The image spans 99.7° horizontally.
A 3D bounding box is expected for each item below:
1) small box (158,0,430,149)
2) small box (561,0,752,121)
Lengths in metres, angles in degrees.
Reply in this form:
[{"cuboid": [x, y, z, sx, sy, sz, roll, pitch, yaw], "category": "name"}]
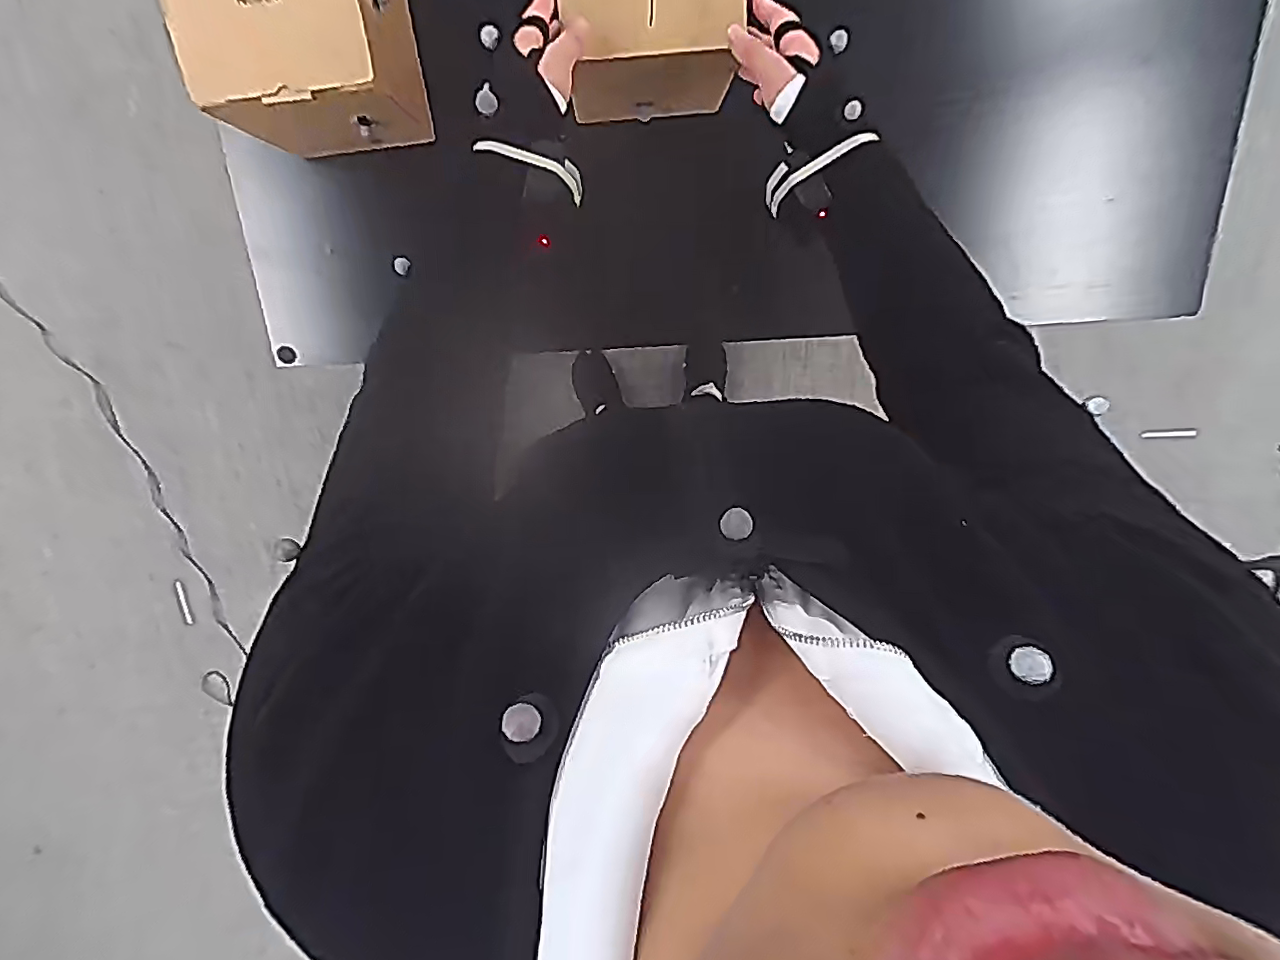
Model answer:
[{"cuboid": [-0.323, -0.441, 0.522, 0.168, 0.176, 0.179, -8, 107, -1], "category": "small box"}, {"cuboid": [0.008, -0.477, 0.521, 0.168, 0.176, 0.179, -5, 108, 0], "category": "small box"}]
